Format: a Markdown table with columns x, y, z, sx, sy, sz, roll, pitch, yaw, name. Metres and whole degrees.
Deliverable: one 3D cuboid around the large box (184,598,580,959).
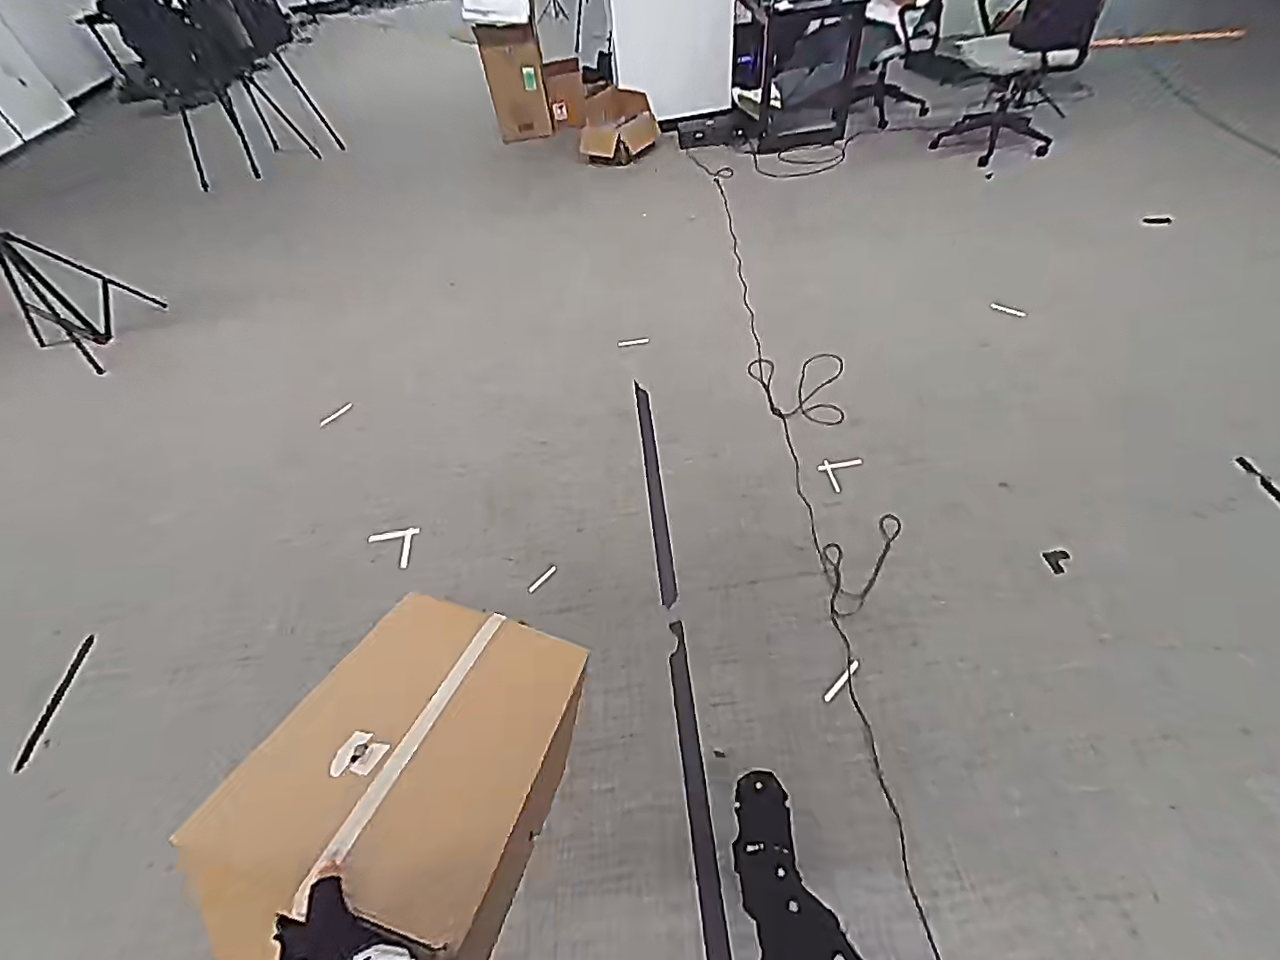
| x | y | z | sx | sy | sz | roll | pitch | yaw | name |
| --- | --- | --- | --- | --- | --- | --- | --- | --- | --- |
| -0.309 | 0.450 | 0.776 | 0.320 | 0.320 | 0.408 | 16 | 30 | 6 | large box |
